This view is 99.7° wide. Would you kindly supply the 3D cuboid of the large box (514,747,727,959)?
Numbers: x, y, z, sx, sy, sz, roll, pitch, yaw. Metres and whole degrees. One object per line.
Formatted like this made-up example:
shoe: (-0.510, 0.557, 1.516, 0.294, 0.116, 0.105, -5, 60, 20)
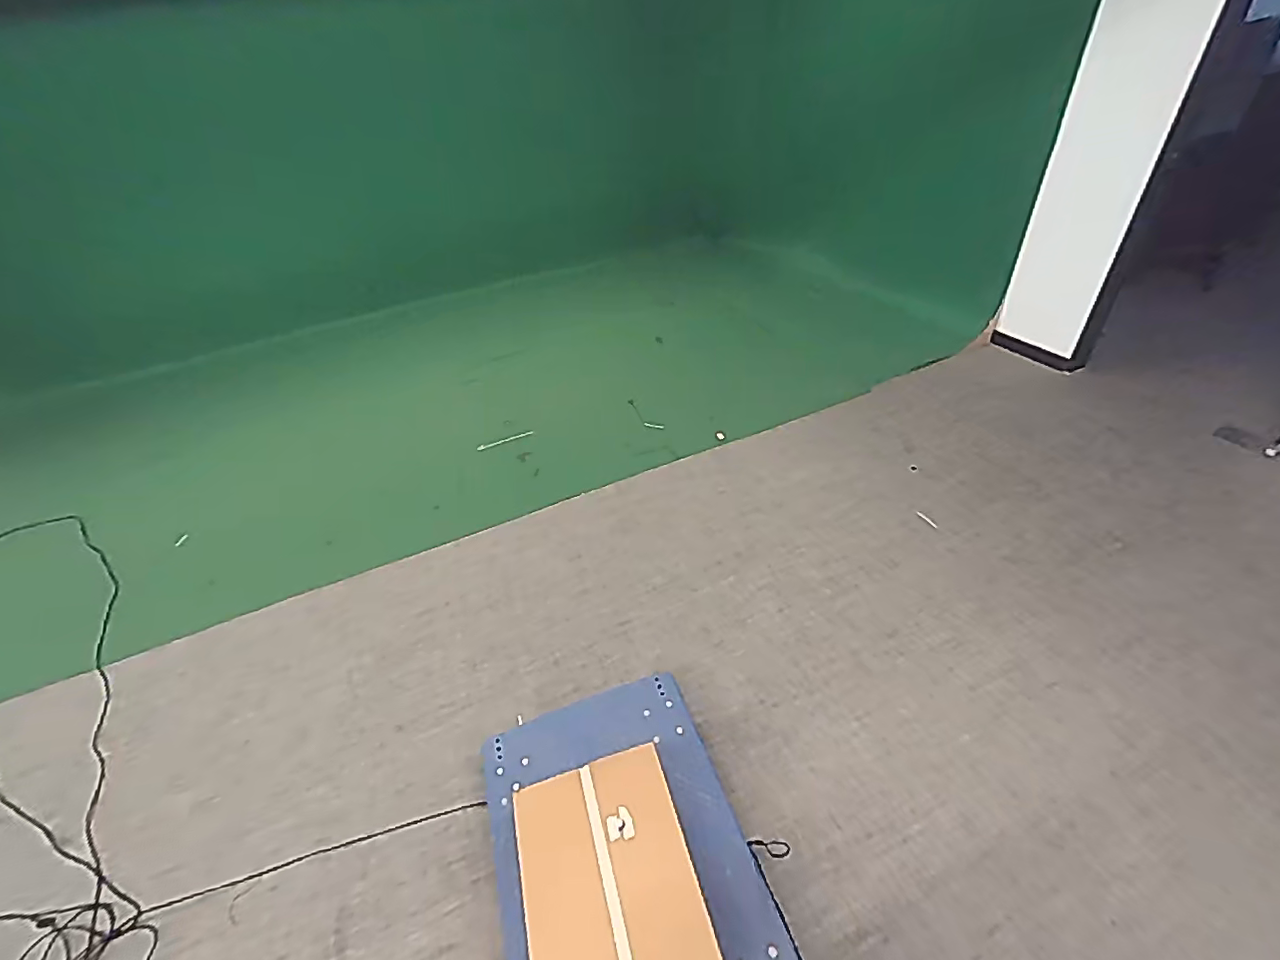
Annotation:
large box: (-0.039, 0.841, 1.080, 0.320, 0.320, 0.408, -15, 39, -9)
